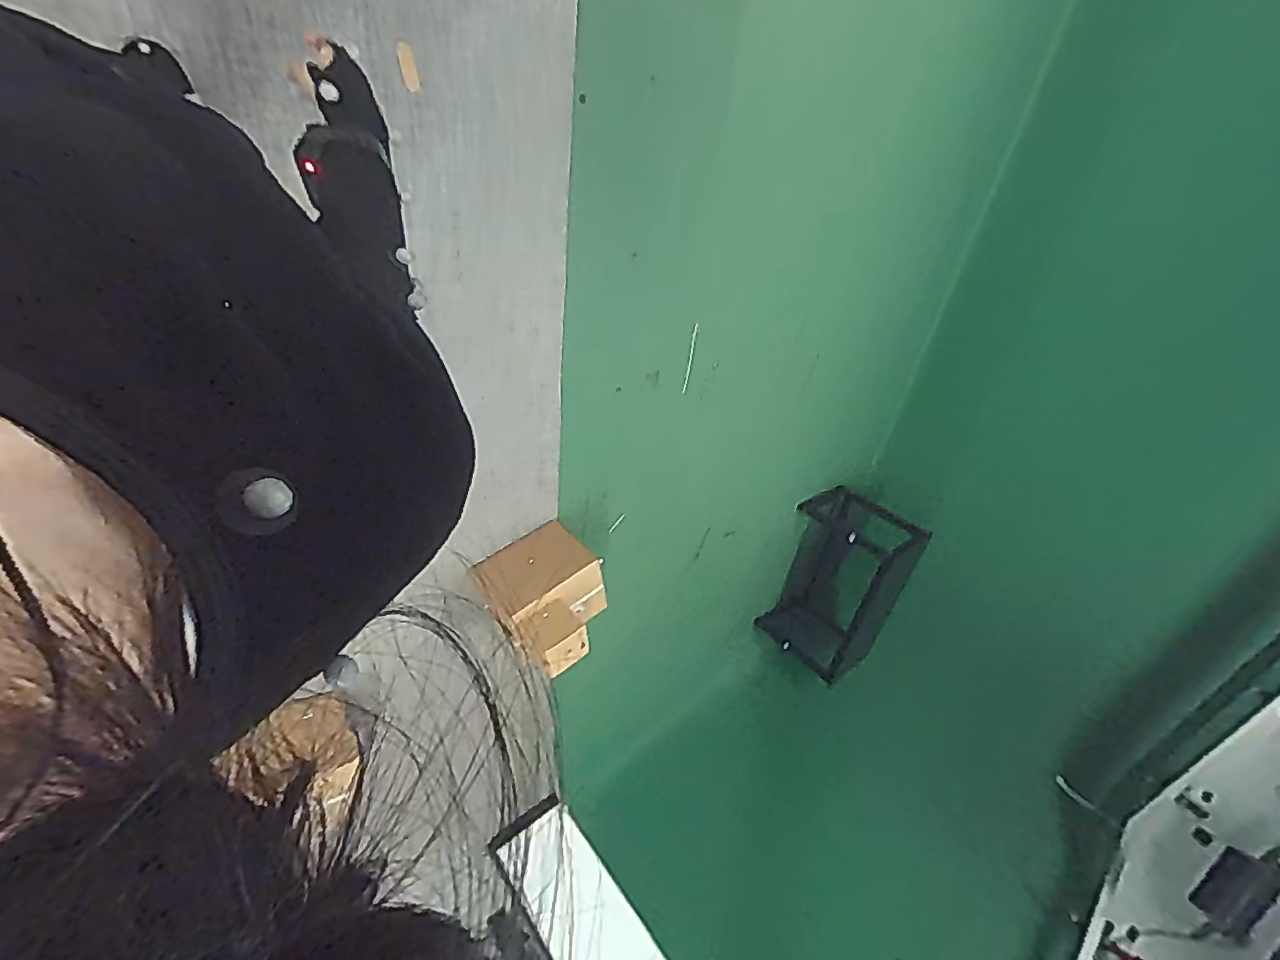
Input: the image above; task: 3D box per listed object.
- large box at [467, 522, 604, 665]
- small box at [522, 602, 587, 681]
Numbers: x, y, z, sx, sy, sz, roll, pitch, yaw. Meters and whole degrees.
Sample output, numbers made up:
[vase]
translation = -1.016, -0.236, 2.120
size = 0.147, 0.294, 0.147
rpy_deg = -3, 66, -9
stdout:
[large box]
translation = -0.409, 0.443, 2.162
size = 0.408, 0.320, 0.320
rpy_deg = -33, 139, -28
[small box]
translation = -0.314, 0.583, 1.964
size = 0.179, 0.176, 0.168
rpy_deg = -28, 135, -30
